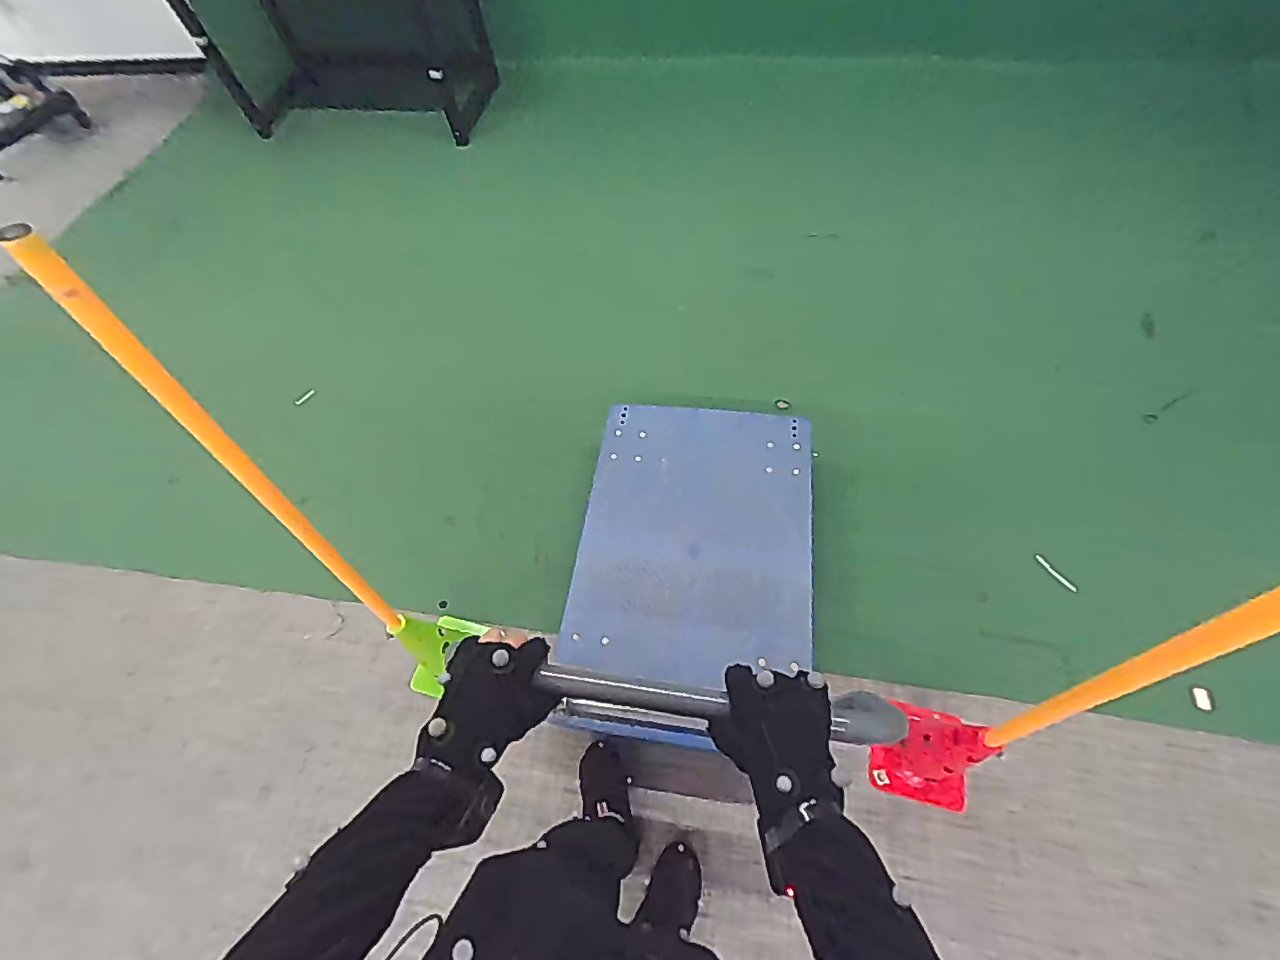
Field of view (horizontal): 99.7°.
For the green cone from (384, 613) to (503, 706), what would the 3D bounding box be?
[{"bbox_3d":[-0.495,0.386,1.280,0.202,0.368,0.200,10,61,12],"label":"green cone"}]
